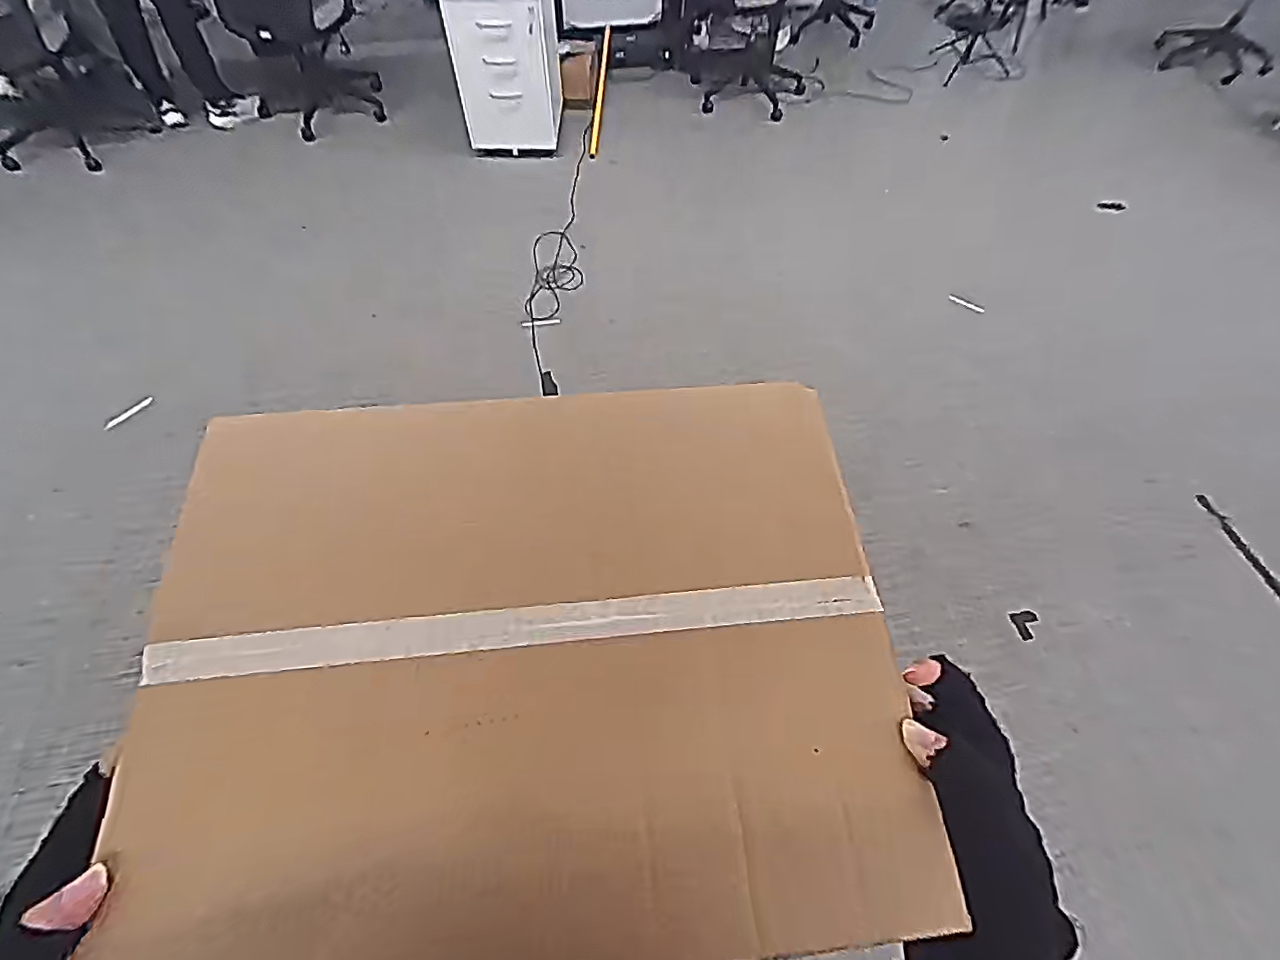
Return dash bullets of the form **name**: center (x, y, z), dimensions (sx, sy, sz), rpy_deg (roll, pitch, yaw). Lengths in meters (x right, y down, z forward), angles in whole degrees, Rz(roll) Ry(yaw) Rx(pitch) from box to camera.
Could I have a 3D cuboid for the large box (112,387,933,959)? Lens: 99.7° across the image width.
- **large box**: center (-0.068, 0.148, 0.456), dimensions (0.408, 0.320, 0.320), rpy_deg (-4, 65, -4)
